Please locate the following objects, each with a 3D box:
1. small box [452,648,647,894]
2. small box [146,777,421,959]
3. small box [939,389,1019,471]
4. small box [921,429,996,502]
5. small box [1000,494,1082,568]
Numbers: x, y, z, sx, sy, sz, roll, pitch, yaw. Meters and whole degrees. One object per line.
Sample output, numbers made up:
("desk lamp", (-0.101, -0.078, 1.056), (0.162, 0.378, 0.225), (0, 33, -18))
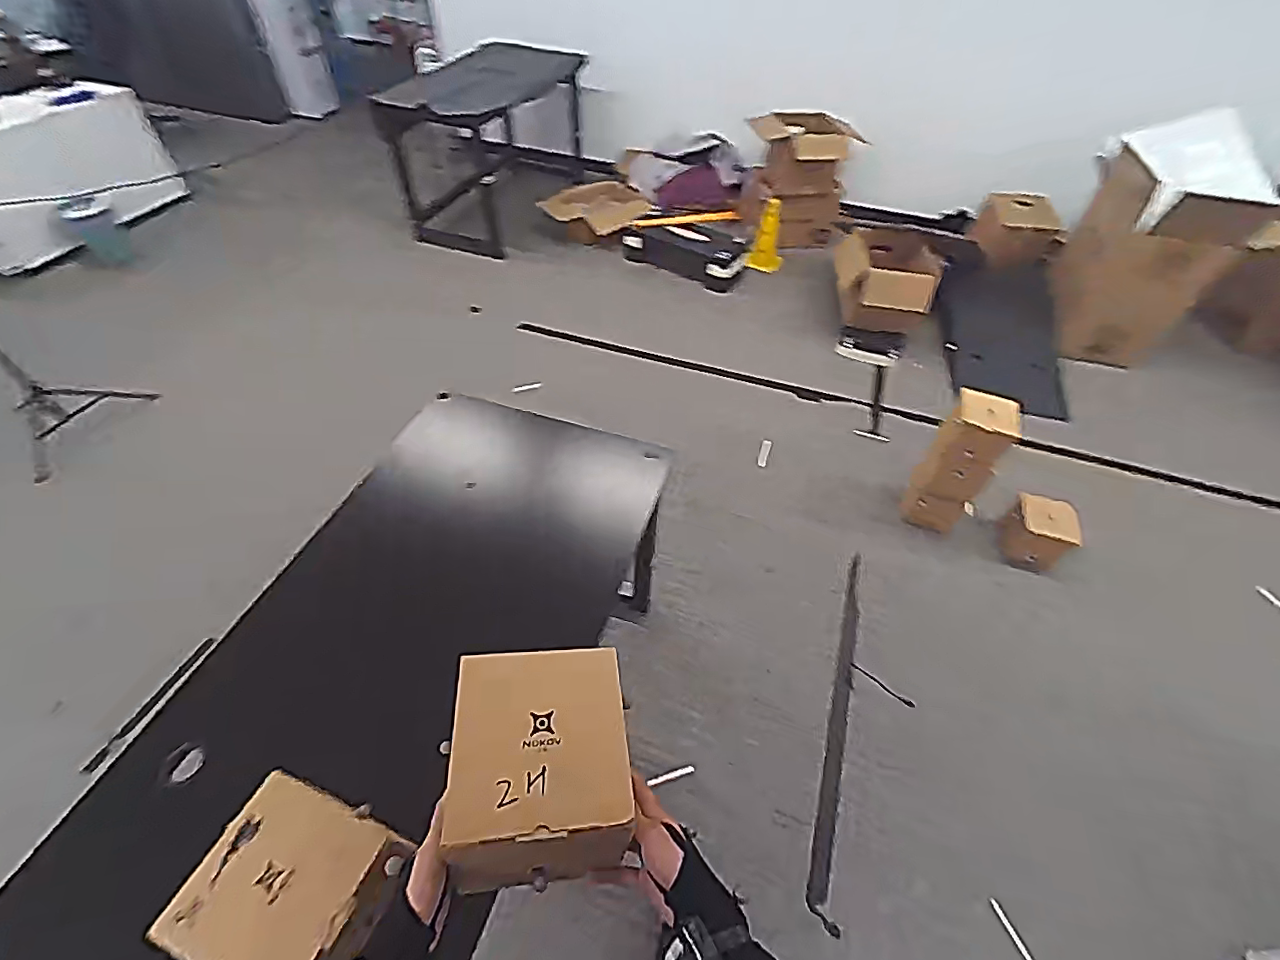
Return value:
("small box", (-0.093, 0.298, 0.564), (0.168, 0.176, 0.179), (1, 42, -10))
("small box", (-0.390, 0.483, 0.632), (0.179, 0.176, 0.168), (19, 52, 13))
("small box", (1.096, -0.161, 1.760), (0.168, 0.176, 0.179), (18, 52, 11))
("small box", (1.097, -0.049, 1.878), (0.179, 0.176, 0.168), (17, 51, 10))
("small box", (1.411, 0.181, 1.917), (0.168, 0.176, 0.179), (14, 52, 11))
